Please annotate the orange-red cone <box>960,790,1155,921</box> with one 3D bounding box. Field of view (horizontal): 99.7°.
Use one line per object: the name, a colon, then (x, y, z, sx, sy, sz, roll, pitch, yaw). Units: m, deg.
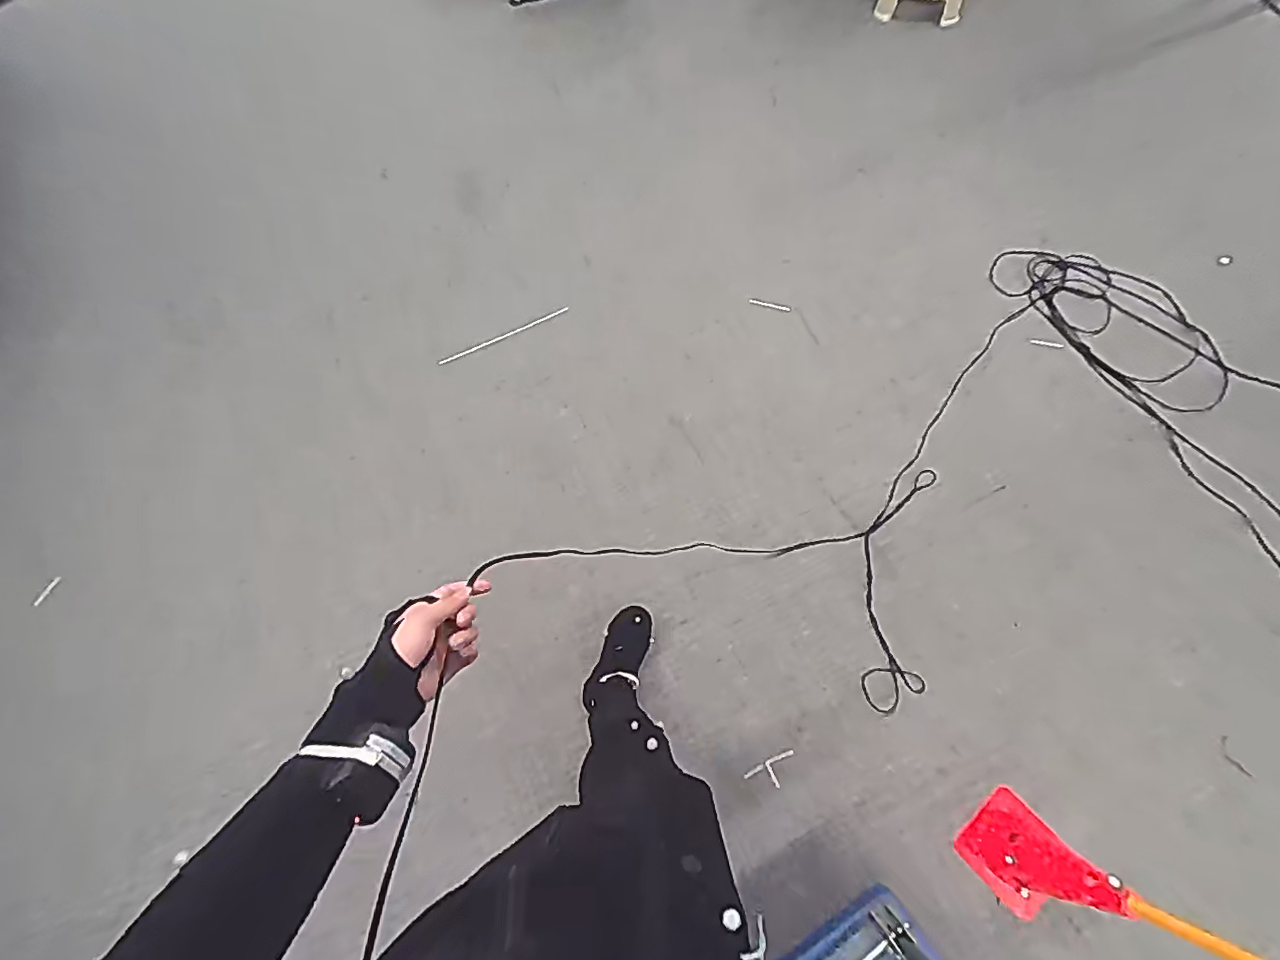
orange-red cone: (0.857, 0.787, 1.077, 0.199, 0.360, 0.198, -38, 72, -13)
